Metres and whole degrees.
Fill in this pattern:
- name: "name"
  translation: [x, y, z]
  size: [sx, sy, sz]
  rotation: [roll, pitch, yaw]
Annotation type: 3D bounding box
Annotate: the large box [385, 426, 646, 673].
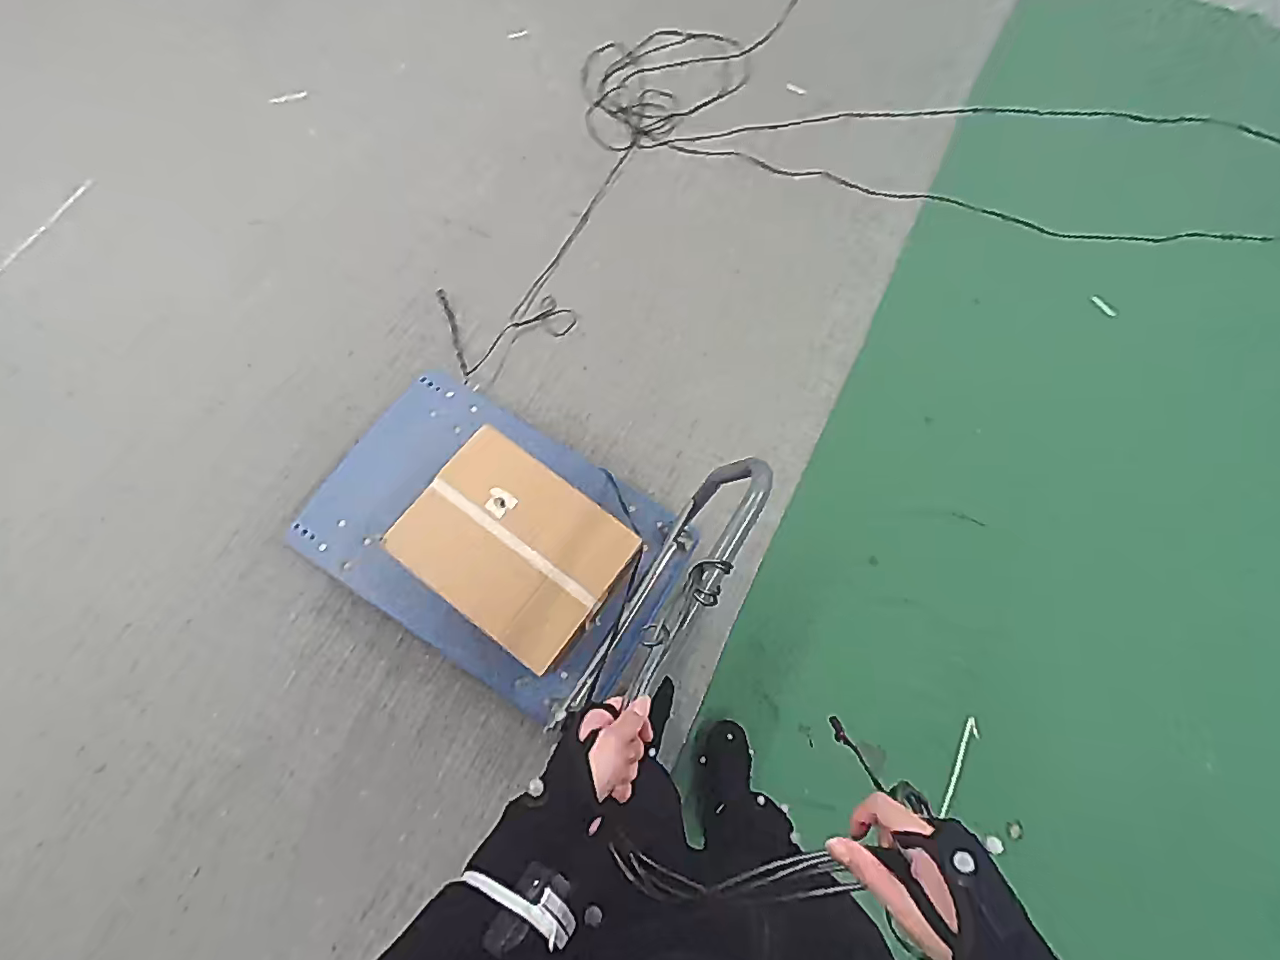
- name: "large box"
  translation: [-0.234, 0.159, 1.162]
  size: [0.408, 0.320, 0.320]
  rotation: [36, 76, 9]
